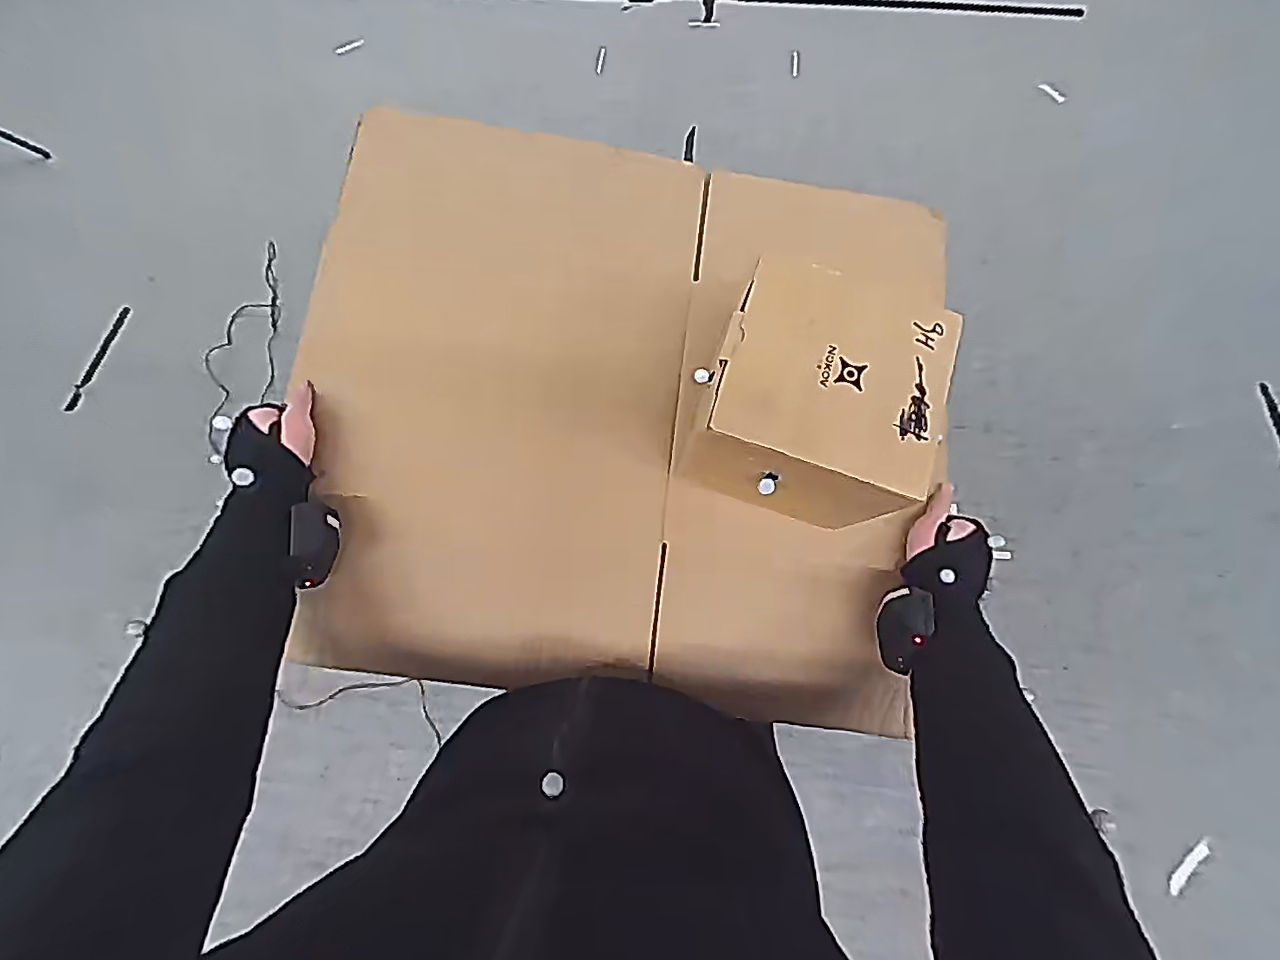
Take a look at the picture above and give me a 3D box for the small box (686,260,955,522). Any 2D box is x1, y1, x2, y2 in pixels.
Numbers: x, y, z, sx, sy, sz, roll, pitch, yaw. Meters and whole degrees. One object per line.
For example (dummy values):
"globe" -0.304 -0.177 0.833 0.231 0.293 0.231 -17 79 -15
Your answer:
"small box" 0.152 -0.067 0.511 0.179 0.176 0.168 18 78 1
